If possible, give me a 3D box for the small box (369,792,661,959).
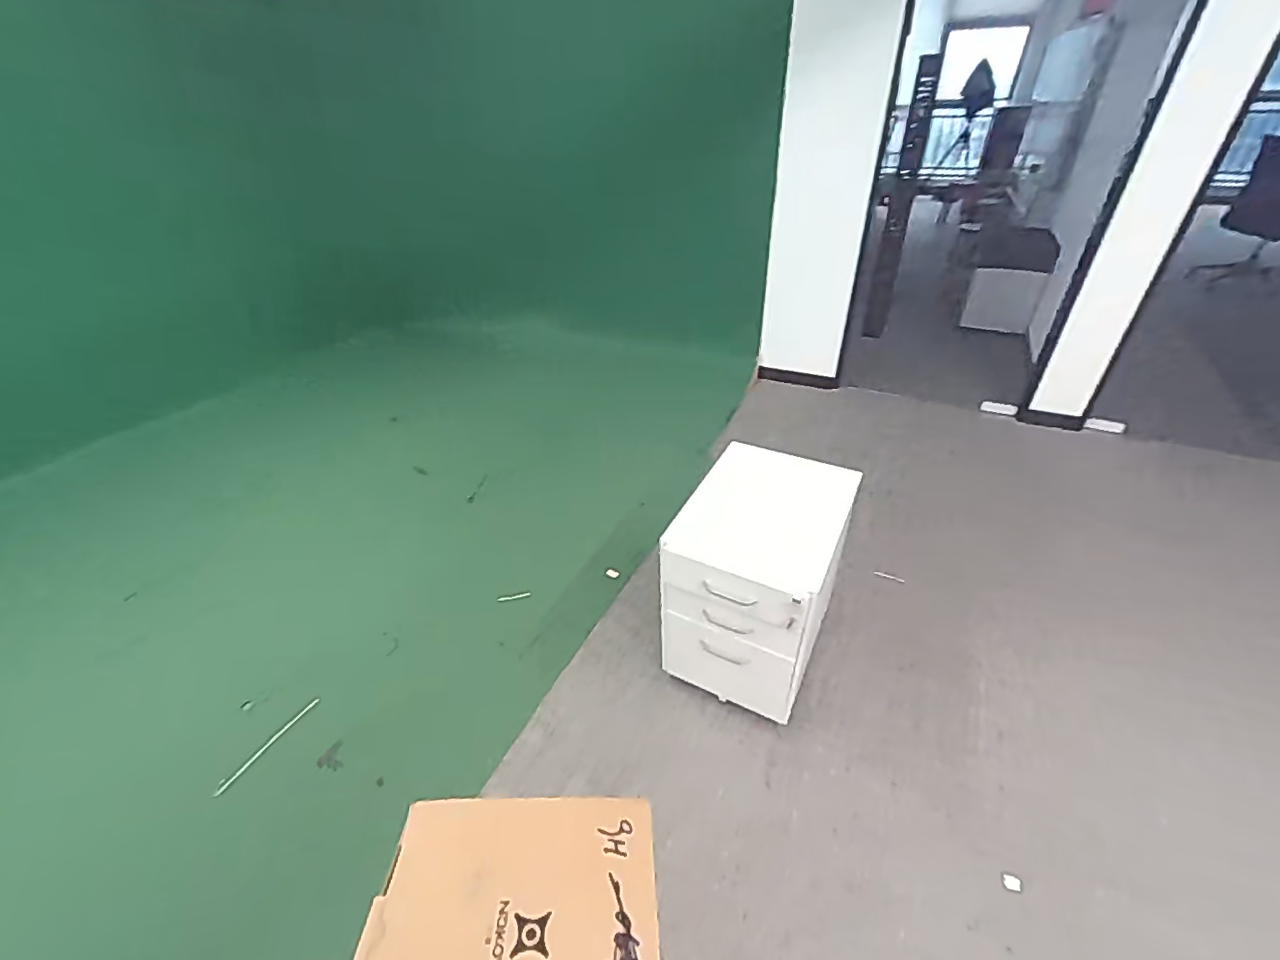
[{"bbox_3d":[-0.078,0.347,0.374,0.179,0.176,0.168,2,29,-4],"label":"small box"}]
